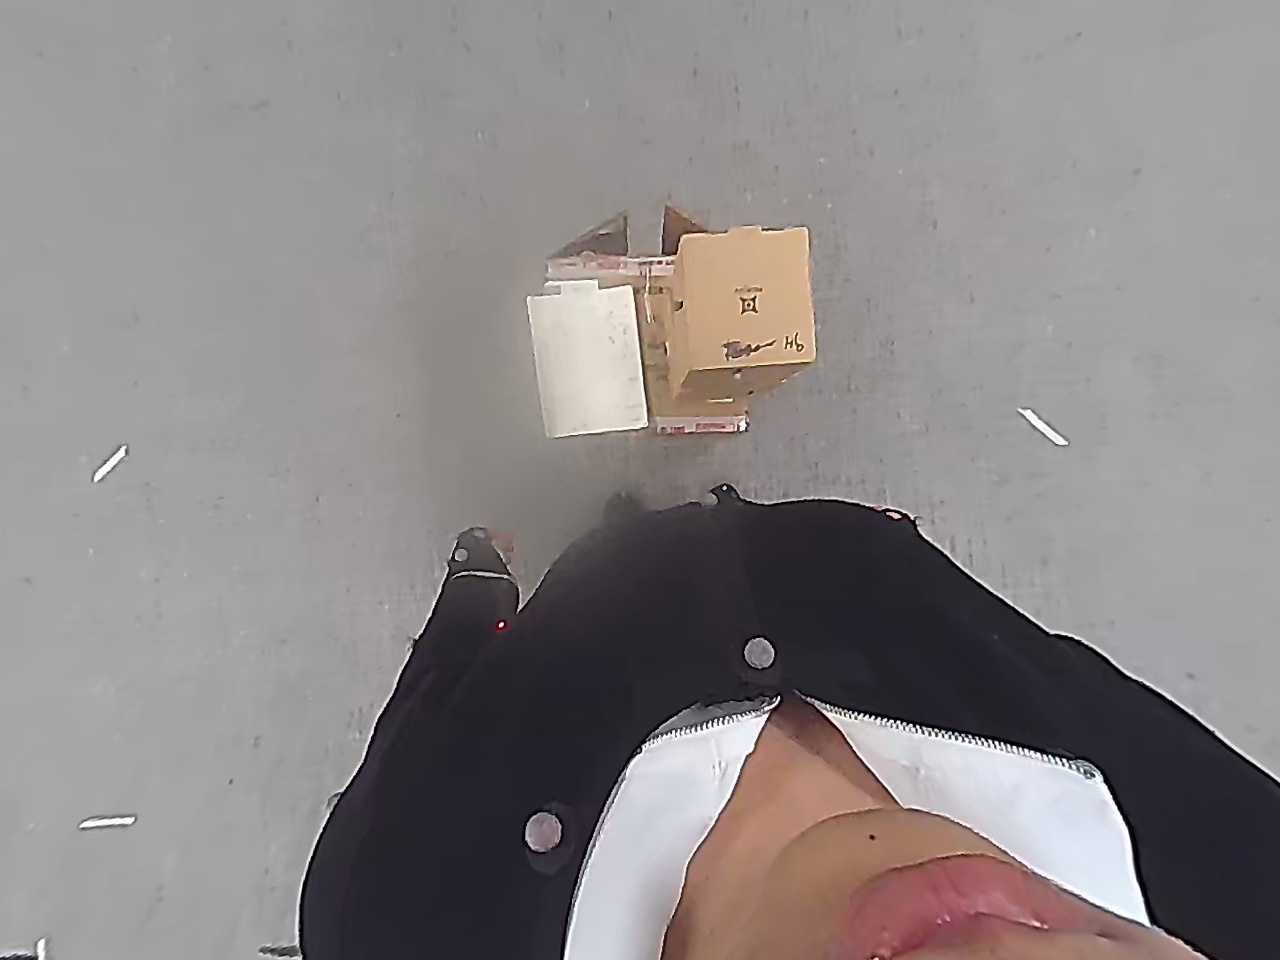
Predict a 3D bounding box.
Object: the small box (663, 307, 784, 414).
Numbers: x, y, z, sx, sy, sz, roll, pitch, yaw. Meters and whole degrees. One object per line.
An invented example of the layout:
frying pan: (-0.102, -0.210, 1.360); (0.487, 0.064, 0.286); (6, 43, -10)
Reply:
small box: (0.139, -0.212, 0.956); (0.179, 0.176, 0.168); (-7, 91, 0)

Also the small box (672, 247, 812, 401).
small box: (0.139, -0.218, 0.792); (0.168, 0.176, 0.179); (-4, 91, -1)
